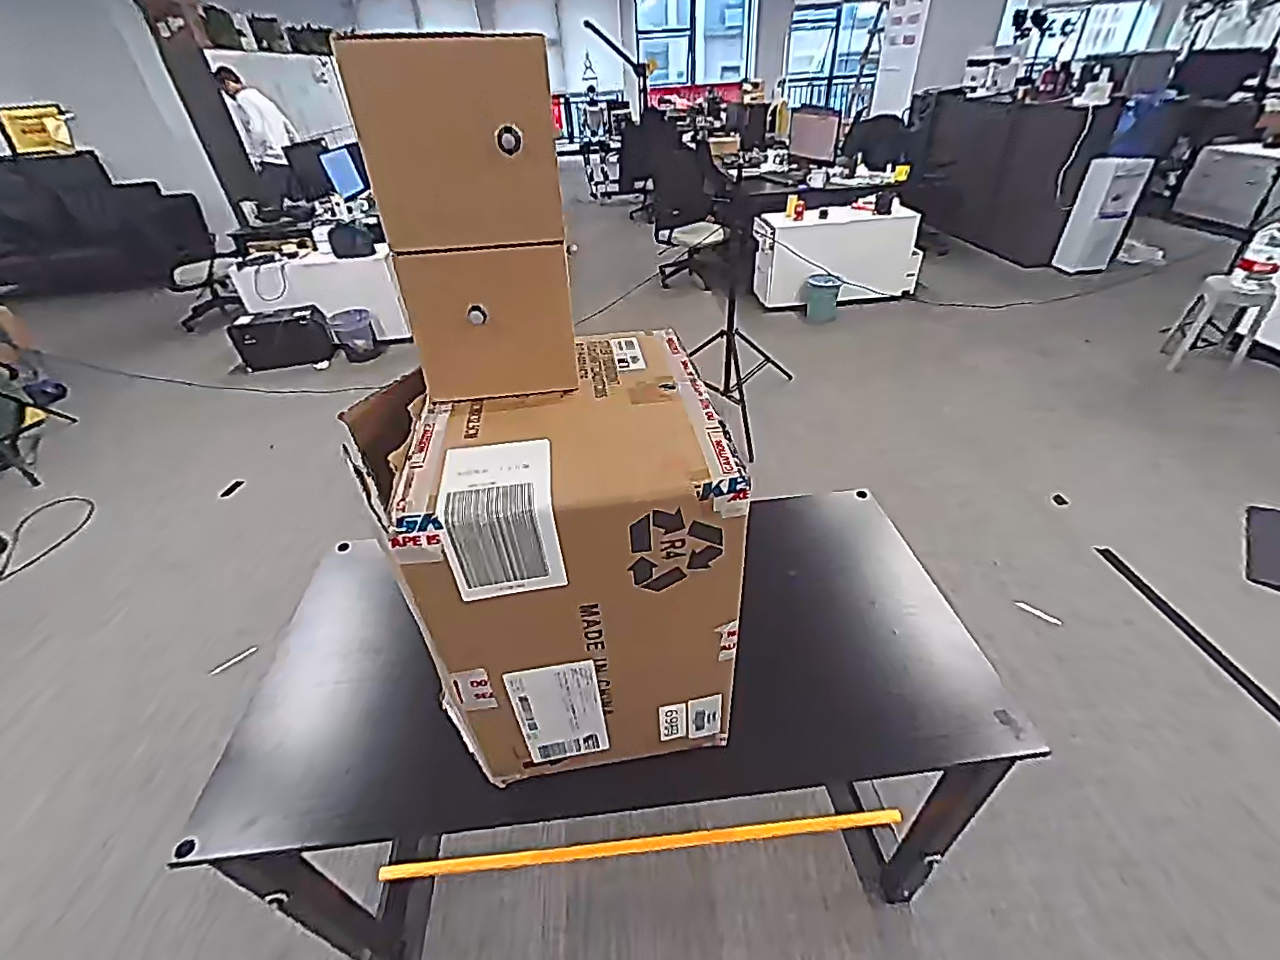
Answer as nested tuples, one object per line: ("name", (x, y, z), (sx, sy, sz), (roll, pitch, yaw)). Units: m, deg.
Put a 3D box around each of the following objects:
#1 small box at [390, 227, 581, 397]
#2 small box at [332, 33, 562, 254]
("small box", (-0.172, -0.211, 0.655), (0.179, 0.176, 0.168), (-7, 35, -6))
("small box", (-0.177, -0.342, 0.557), (0.179, 0.176, 0.168), (-9, 34, -8))
